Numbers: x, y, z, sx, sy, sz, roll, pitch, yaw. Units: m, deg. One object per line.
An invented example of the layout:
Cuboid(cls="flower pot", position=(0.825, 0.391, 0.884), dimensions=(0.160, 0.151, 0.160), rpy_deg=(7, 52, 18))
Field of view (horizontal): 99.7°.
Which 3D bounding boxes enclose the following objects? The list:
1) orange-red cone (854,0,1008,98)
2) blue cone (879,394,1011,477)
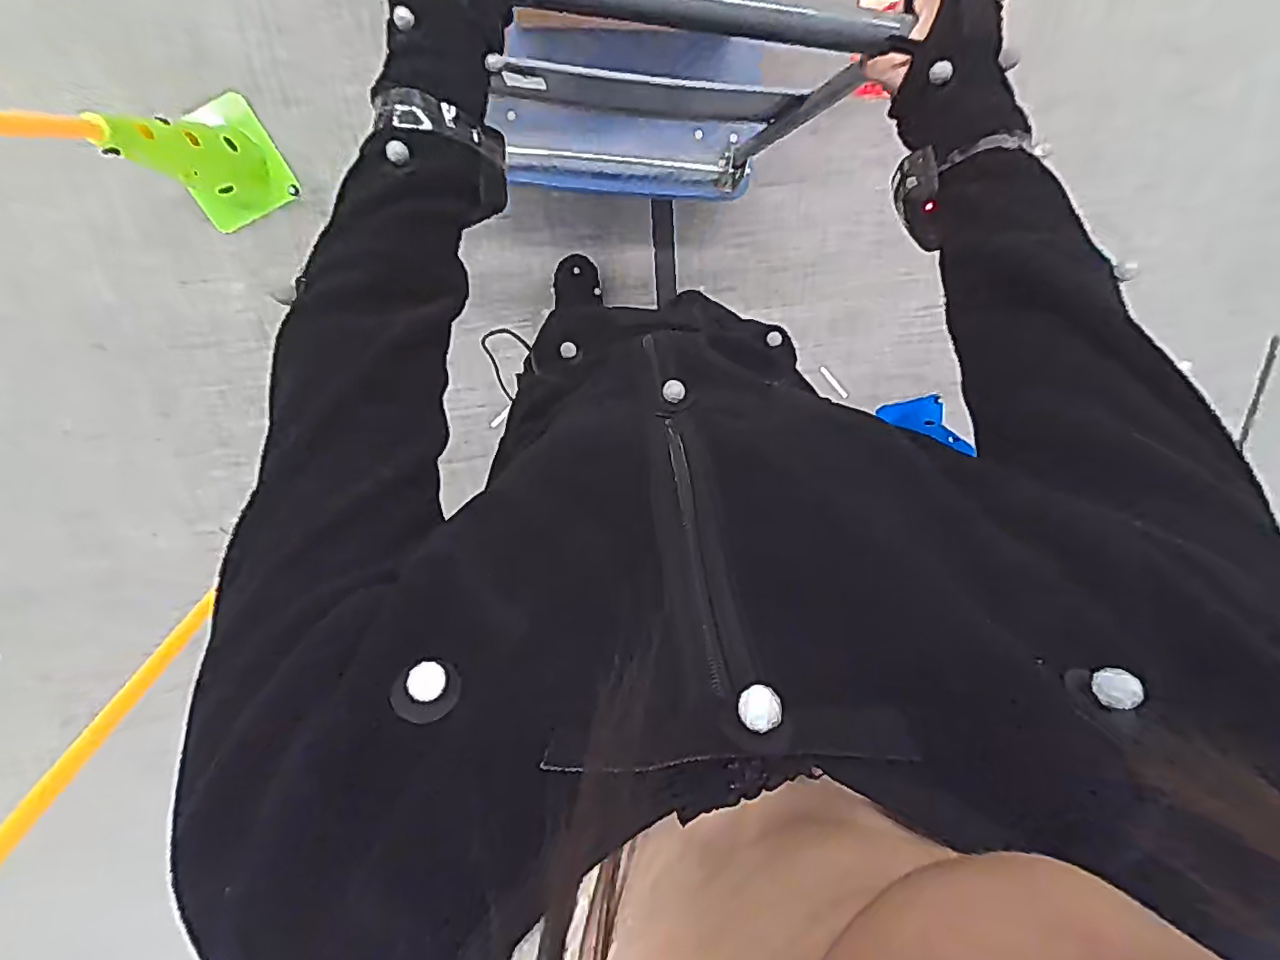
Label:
Cuboid(cls="orange-red cone", position=(0.595, -0.885, 1.014), dimensions=(0.199, 0.360, 0.198), rpy_deg=(-2, 113, -9))
Cuboid(cls="blue cone", position=(0.797, -0.081, 1.391), dimensions=(0.193, 0.380, 0.192), rpy_deg=(-12, 112, -4))
